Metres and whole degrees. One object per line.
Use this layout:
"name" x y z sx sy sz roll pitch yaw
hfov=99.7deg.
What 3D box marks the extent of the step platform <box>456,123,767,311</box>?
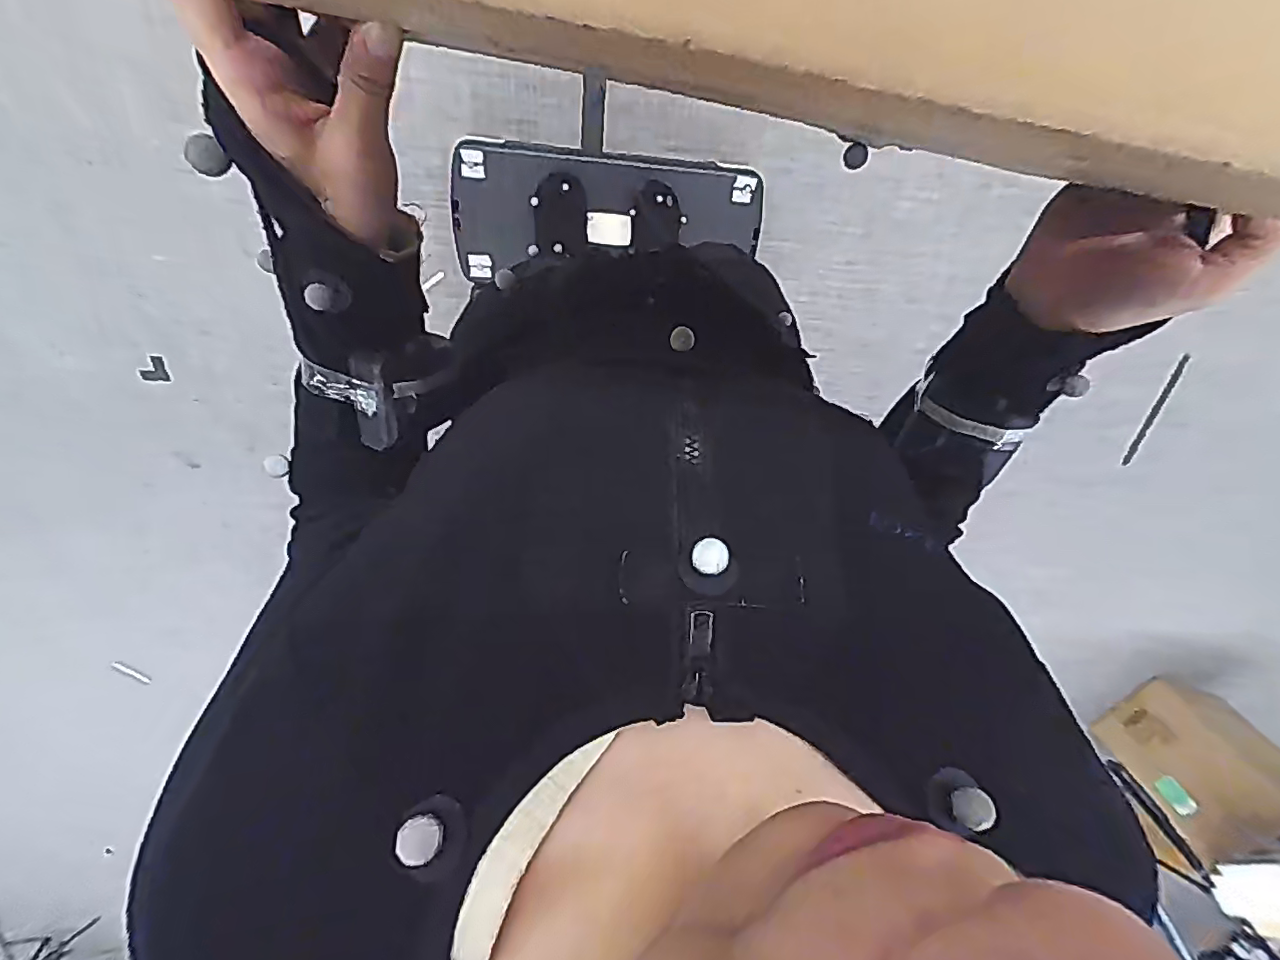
"step platform" -0.064 -0.590 1.242 0.684 0.204 0.286 6 121 -10
